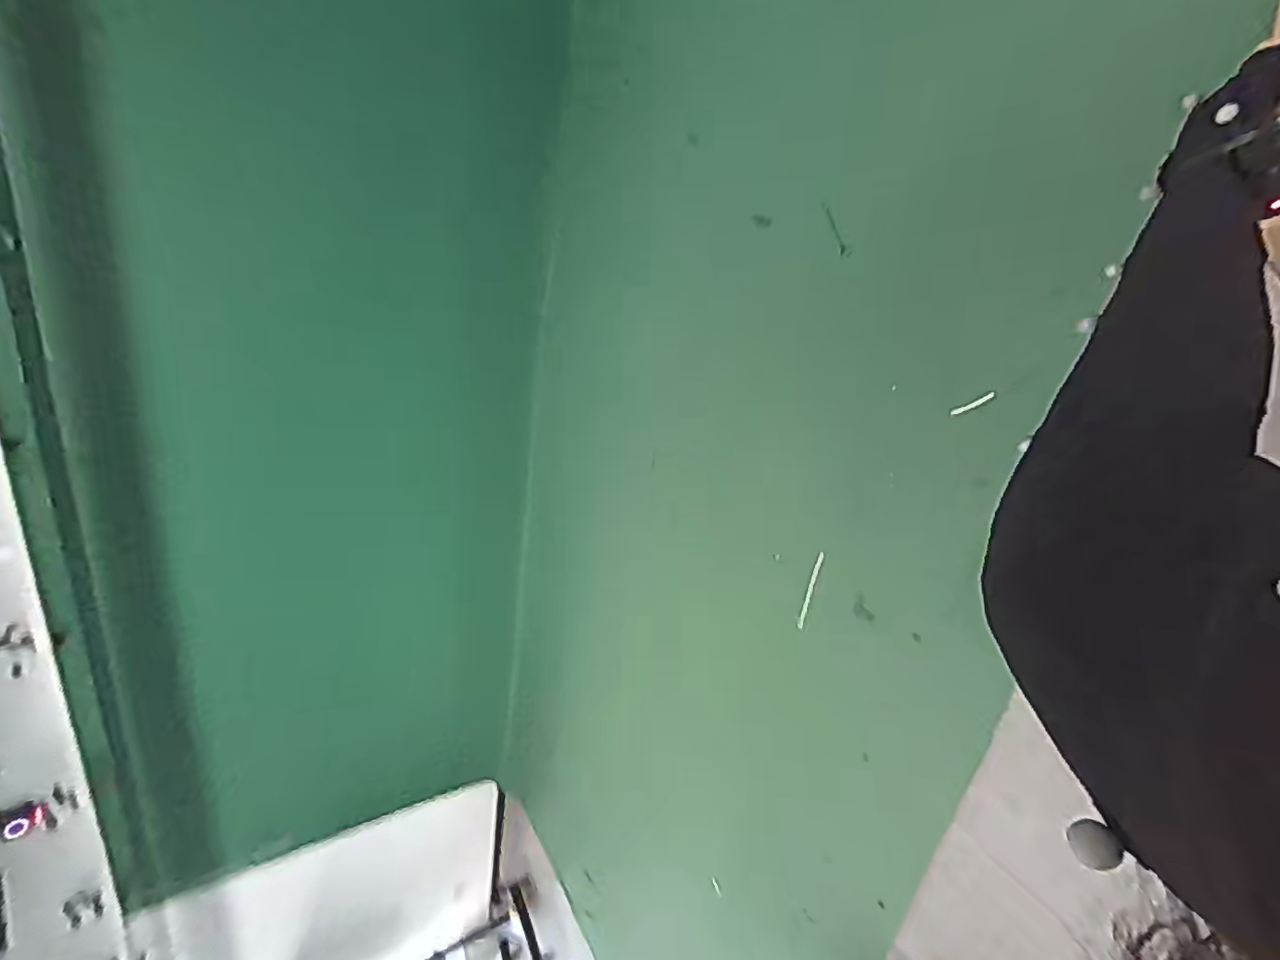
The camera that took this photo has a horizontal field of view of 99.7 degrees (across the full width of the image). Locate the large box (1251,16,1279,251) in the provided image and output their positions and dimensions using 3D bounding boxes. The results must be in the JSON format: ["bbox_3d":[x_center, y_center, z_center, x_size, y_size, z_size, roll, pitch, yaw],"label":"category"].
[{"bbox_3d":[0.812,-0.366,0.403,0.408,0.320,0.320,11,96,59],"label":"large box"}]
